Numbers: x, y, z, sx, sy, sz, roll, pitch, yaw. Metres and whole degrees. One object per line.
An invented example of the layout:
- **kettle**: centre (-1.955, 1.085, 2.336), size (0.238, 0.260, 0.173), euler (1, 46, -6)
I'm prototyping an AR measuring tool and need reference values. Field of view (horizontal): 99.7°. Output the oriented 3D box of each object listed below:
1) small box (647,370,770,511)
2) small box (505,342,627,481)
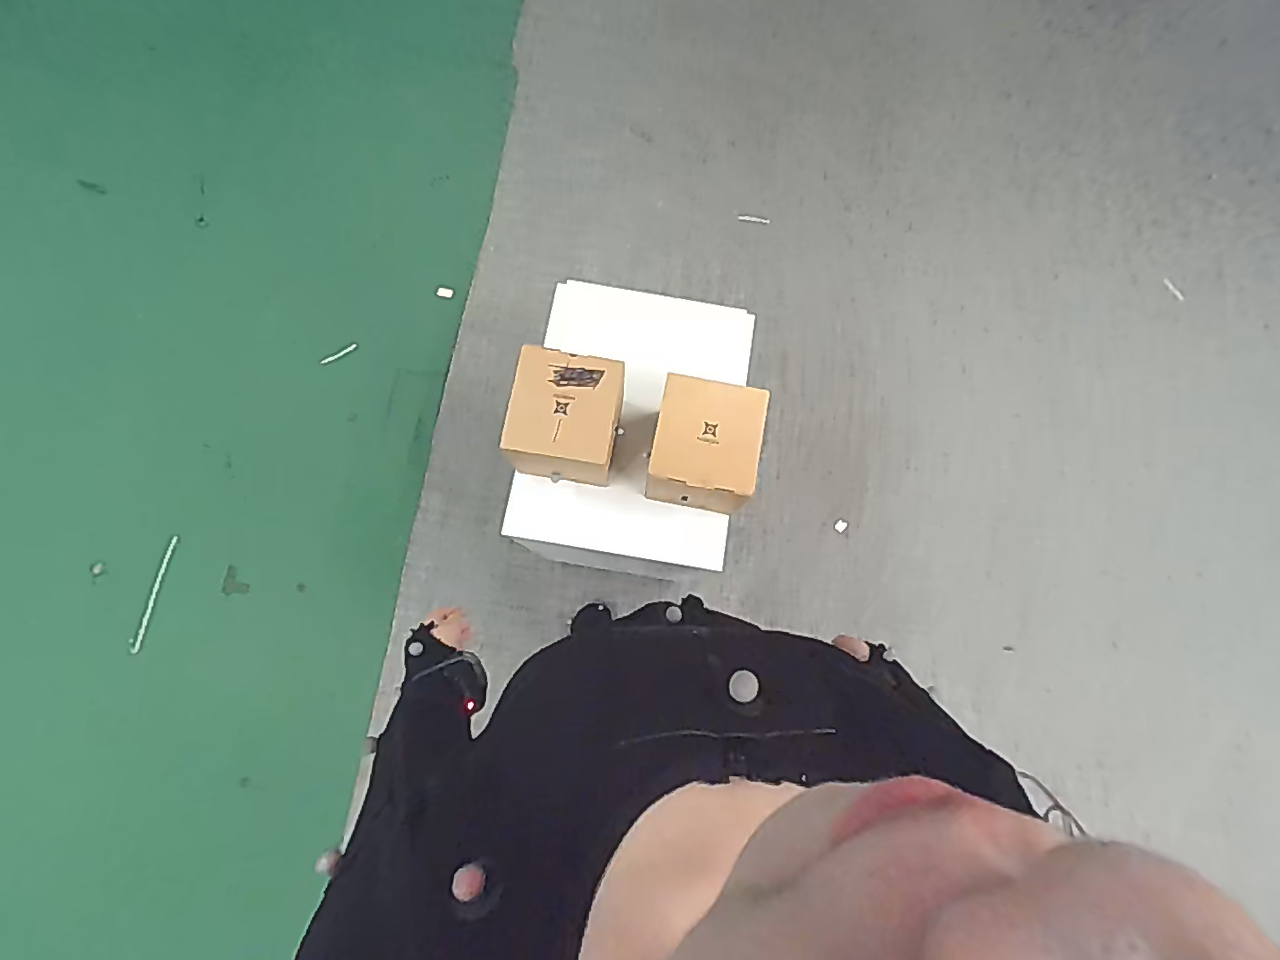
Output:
- **small box**: centre (0.107, -0.058, 0.910), size (0.168, 0.176, 0.179), euler (11, 77, 2)
- **small box**: centre (-0.117, -0.107, 0.916), size (0.168, 0.176, 0.179), euler (8, 79, 0)
